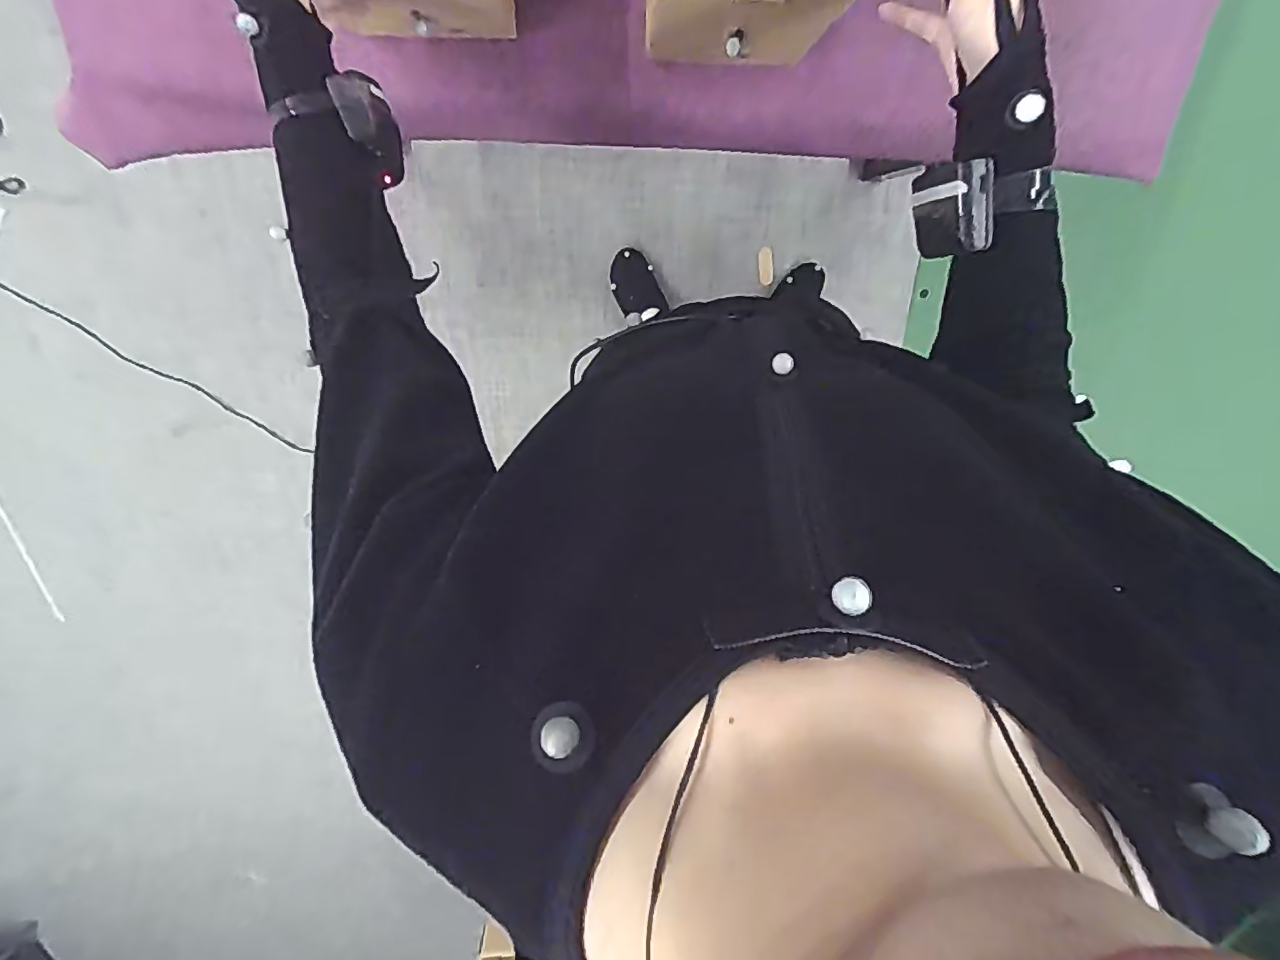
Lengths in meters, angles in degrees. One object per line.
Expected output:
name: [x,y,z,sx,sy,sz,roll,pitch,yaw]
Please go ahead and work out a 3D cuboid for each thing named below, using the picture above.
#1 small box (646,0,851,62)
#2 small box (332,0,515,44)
small box: [0.092,-0.496,0.474,0.168,0.176,0.179,0,112,-3]
small box: [-0.205,-0.508,0.456,0.168,0.176,0.179,0,113,-2]
